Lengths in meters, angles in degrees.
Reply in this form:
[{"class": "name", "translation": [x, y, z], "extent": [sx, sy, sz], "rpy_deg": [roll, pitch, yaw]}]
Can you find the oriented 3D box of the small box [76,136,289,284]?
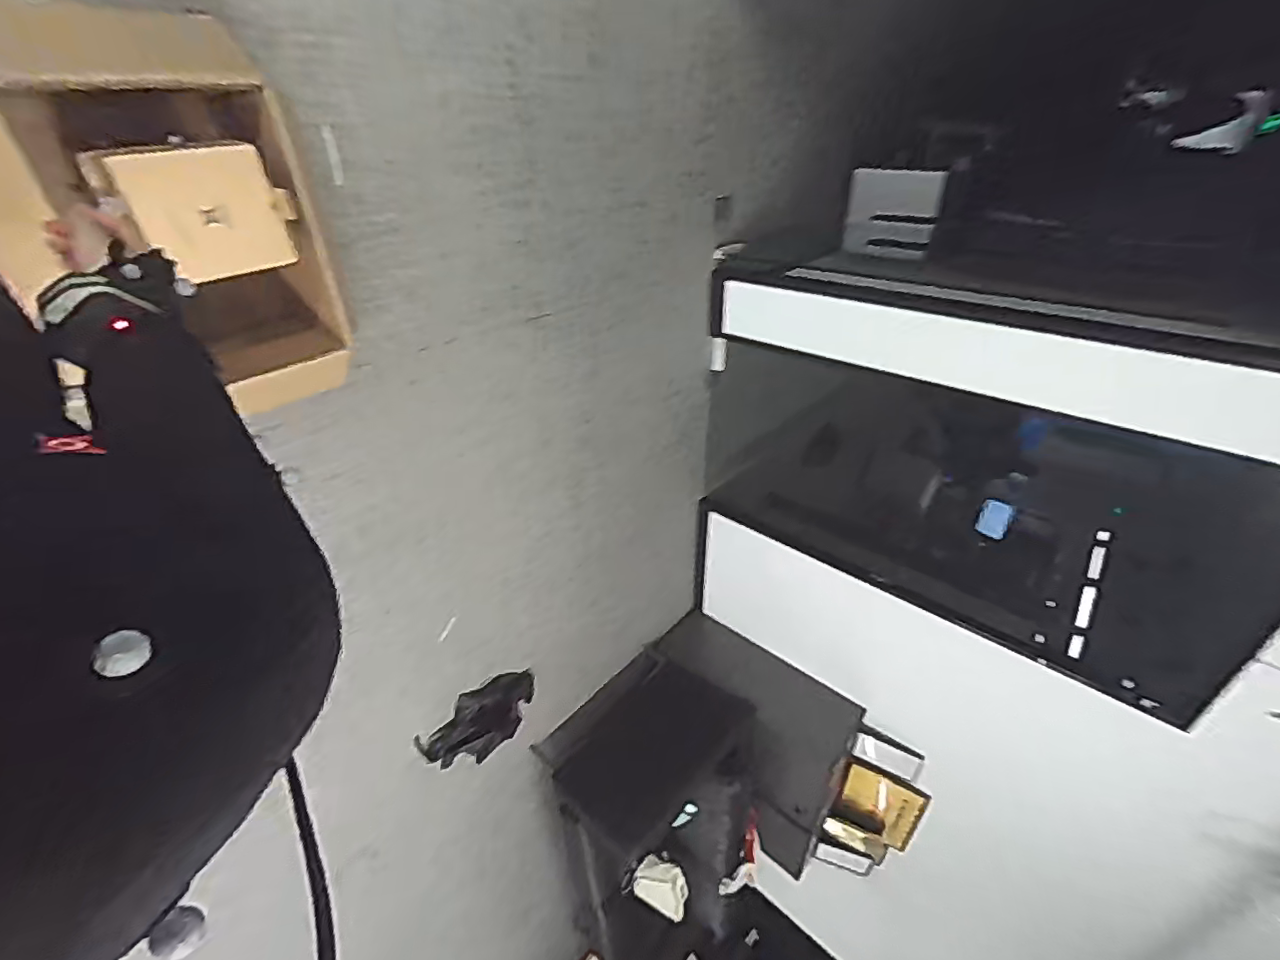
[{"class": "small box", "translation": [-0.678, -0.411, 0.810], "extent": [0.179, 0.176, 0.168], "rpy_deg": [-34, 137, -36]}]
